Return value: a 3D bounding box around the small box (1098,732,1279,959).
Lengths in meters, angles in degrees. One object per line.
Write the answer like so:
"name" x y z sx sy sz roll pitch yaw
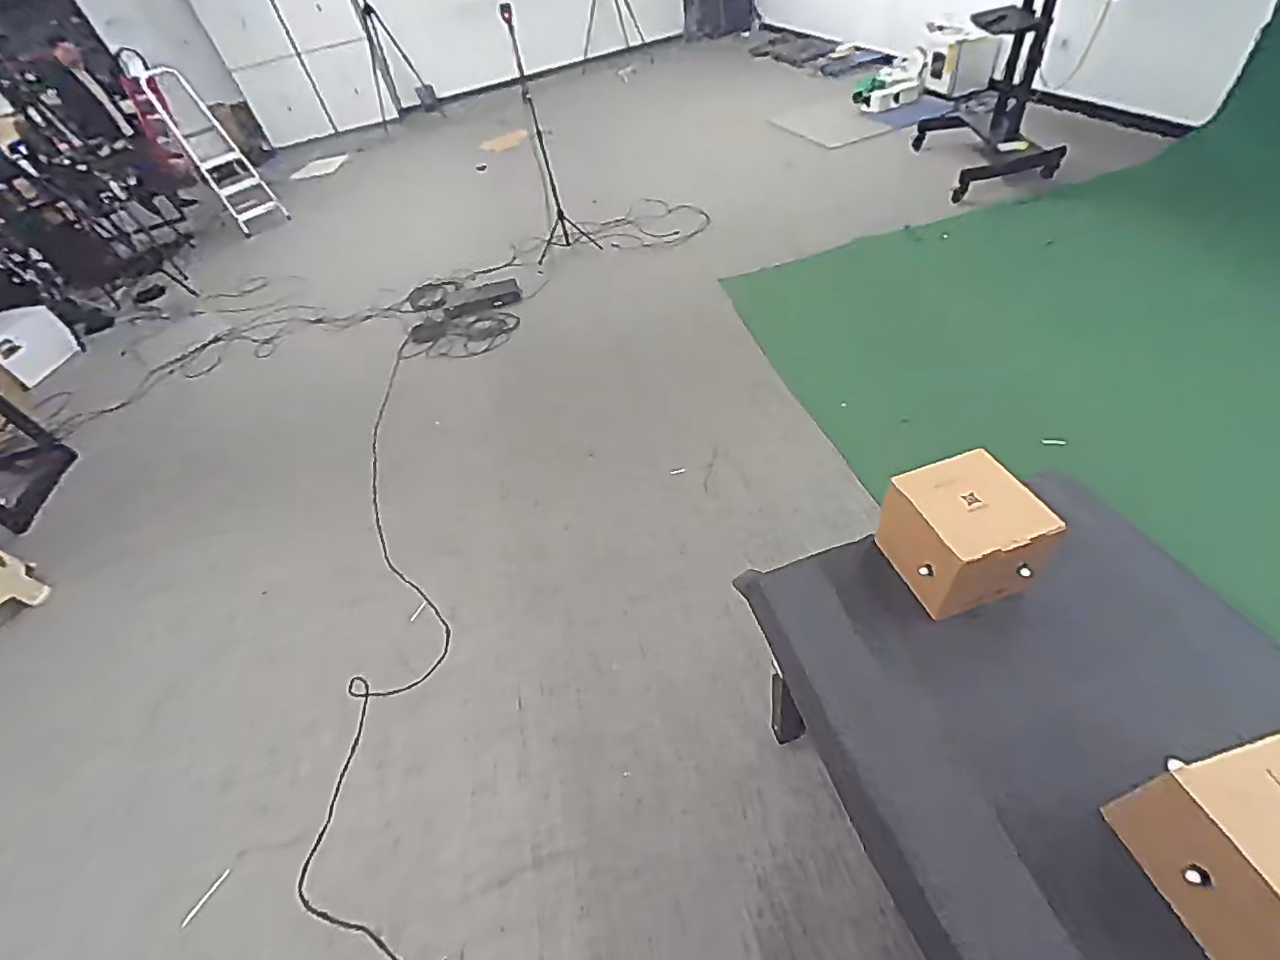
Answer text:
"small box" 0.640 0.388 0.551 0.168 0.176 0.179 -15 45 -4

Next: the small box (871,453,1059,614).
"small box" 0.498 0.092 0.862 0.168 0.176 0.179 -16 45 -7
